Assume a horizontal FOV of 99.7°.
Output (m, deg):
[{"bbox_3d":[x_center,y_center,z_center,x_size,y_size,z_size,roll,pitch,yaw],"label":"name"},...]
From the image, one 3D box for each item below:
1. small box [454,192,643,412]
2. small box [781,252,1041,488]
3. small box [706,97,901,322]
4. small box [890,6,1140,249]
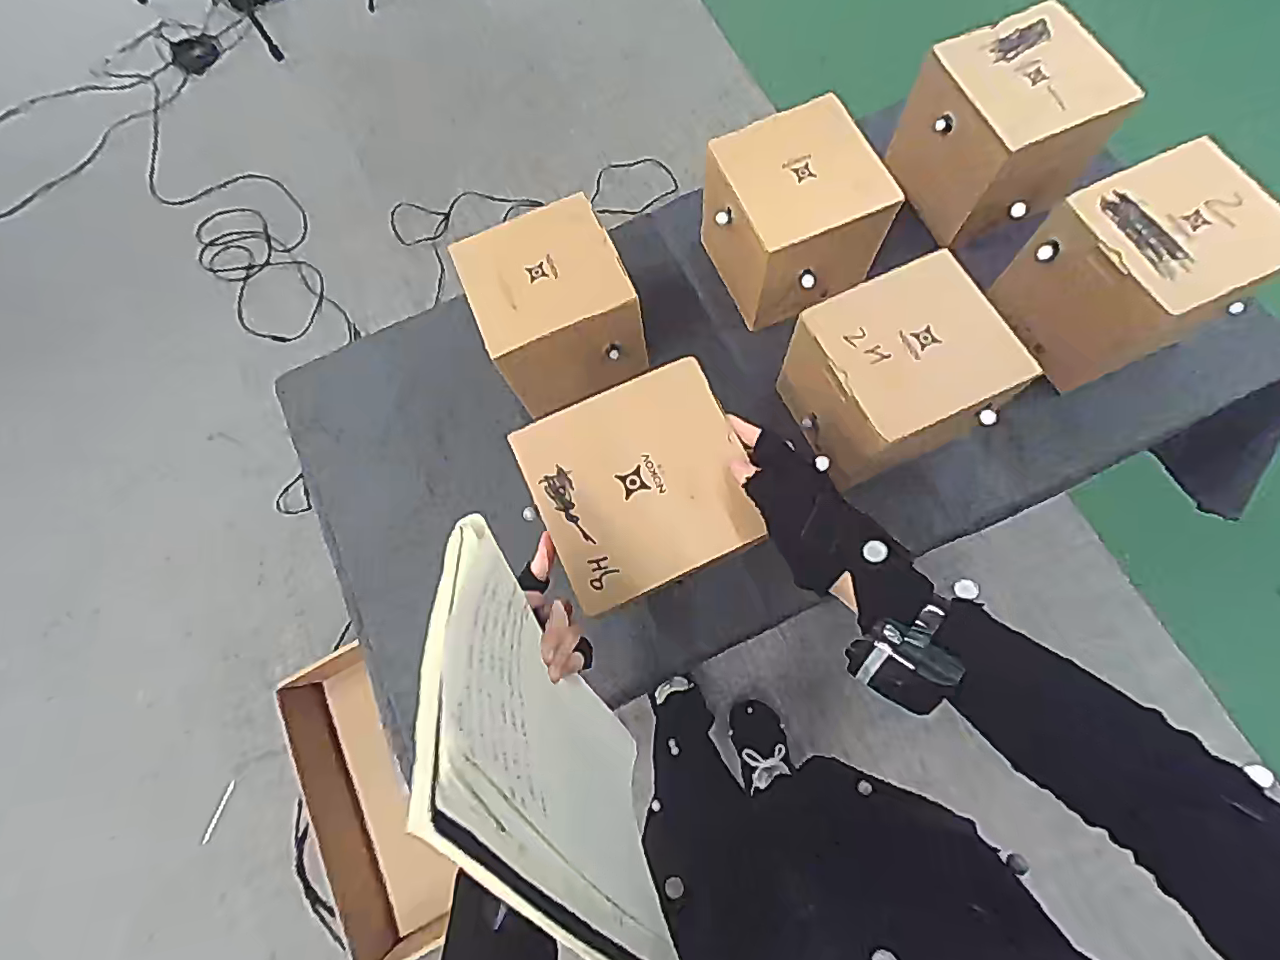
[{"bbox_3d":[-0.102,-0.212,0.683,0.179,0.176,0.168,-23,73,-3],"label":"small box"},{"bbox_3d":[0.284,-0.113,0.616,0.179,0.176,0.168,-24,71,-3],"label":"small box"},{"bbox_3d":[0.193,-0.328,0.694,0.168,0.176,0.179,-22,73,-1],"label":"small box"},{"bbox_3d":[0.459,-0.443,0.700,0.168,0.176,0.179,-22,73,-1],"label":"small box"}]
